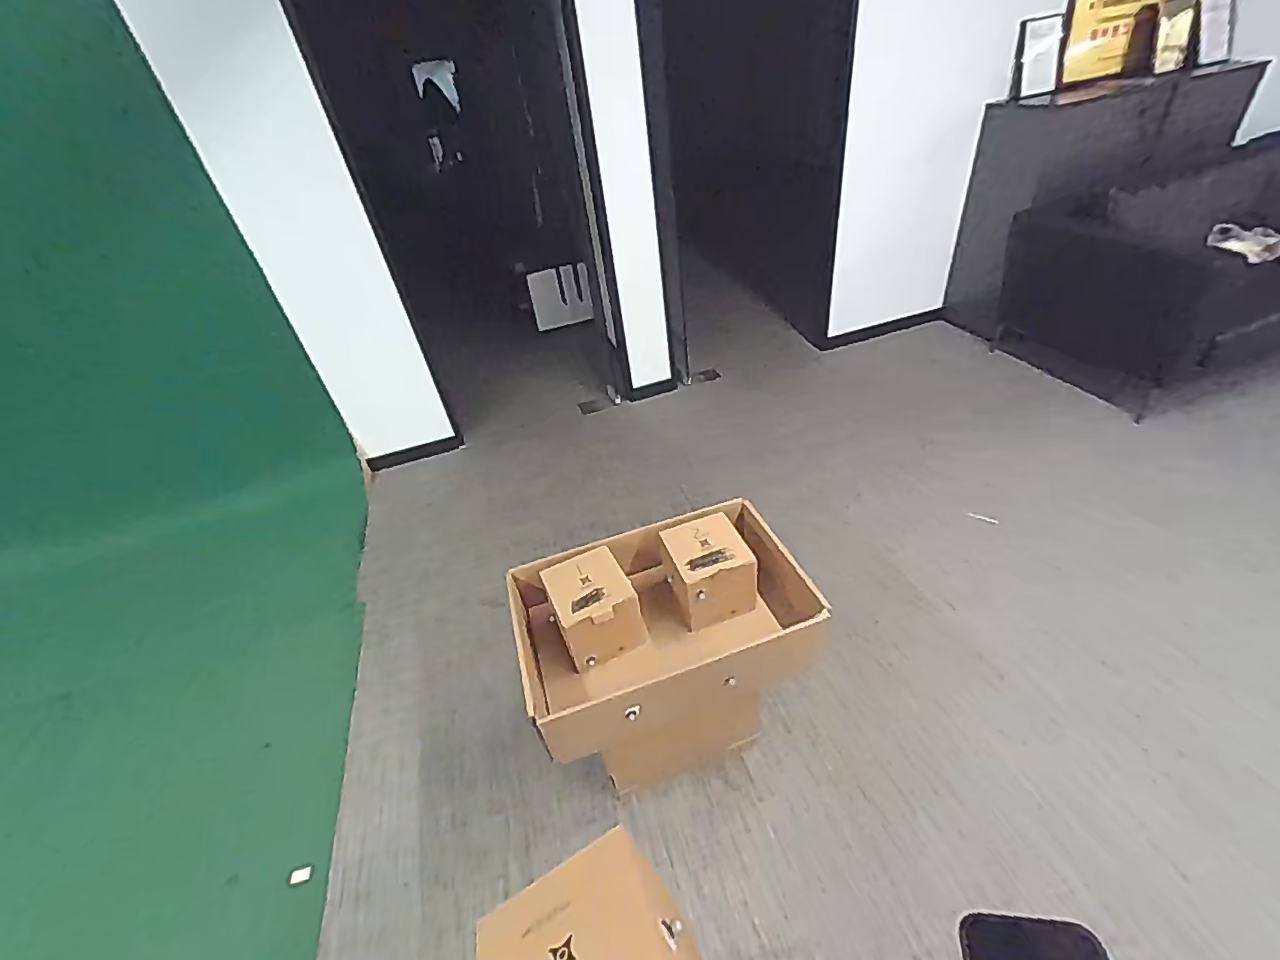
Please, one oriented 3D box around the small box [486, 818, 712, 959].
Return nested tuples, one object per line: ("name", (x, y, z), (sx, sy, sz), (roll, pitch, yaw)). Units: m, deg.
("small box", (-0.023, 0.469, 0.486), (0.168, 0.176, 0.179), (-30, 17, -8))
